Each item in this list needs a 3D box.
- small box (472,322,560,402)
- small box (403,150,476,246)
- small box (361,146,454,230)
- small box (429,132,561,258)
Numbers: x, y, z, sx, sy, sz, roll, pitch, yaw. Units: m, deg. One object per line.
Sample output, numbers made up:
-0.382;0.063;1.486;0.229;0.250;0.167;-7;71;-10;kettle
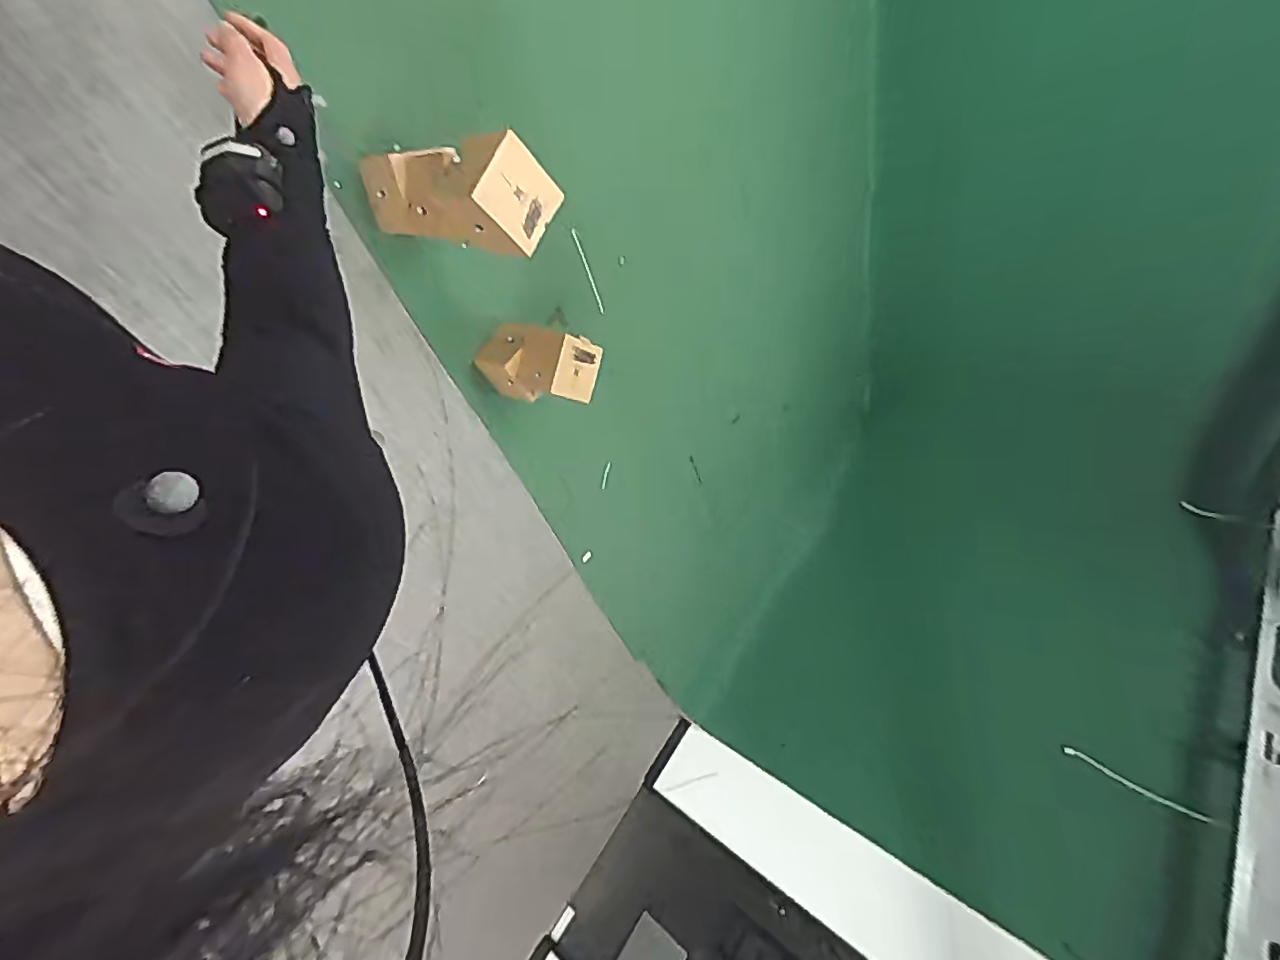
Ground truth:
-0.395;-0.380;1.718;0.179;0.176;0.168;-56;142;-19;small box
-0.432;-0.649;1.262;0.179;0.176;0.168;-13;118;-50;small box
-0.559;-0.721;1.338;0.179;0.176;0.168;-36;133;-38;small box
-0.310;-0.607;1.160;0.179;0.176;0.168;36;79;-52;small box
